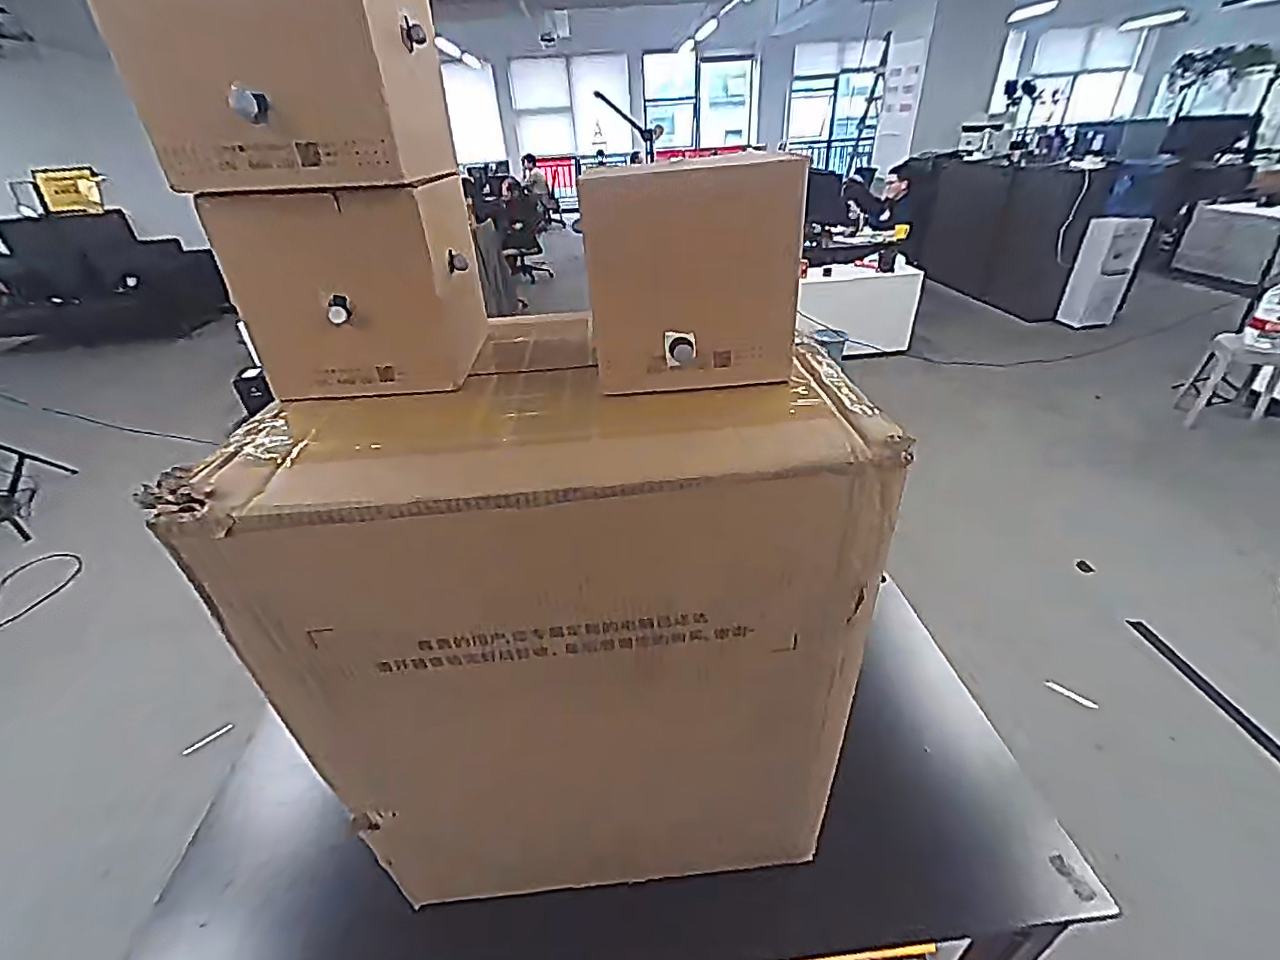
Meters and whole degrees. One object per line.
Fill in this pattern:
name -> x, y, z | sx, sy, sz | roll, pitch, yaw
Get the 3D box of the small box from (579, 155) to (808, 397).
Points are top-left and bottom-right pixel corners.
small box -> 0.041, -0.189, 0.493 | 0.168, 0.176, 0.179 | -6, 33, 1

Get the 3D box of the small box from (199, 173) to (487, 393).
small box -> -0.253, -0.189, 0.519 | 0.168, 0.176, 0.179 | -4, 33, -3

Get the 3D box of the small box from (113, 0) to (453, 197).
small box -> -0.255, -0.320, 0.416 | 0.168, 0.176, 0.179 | -4, 33, -2
